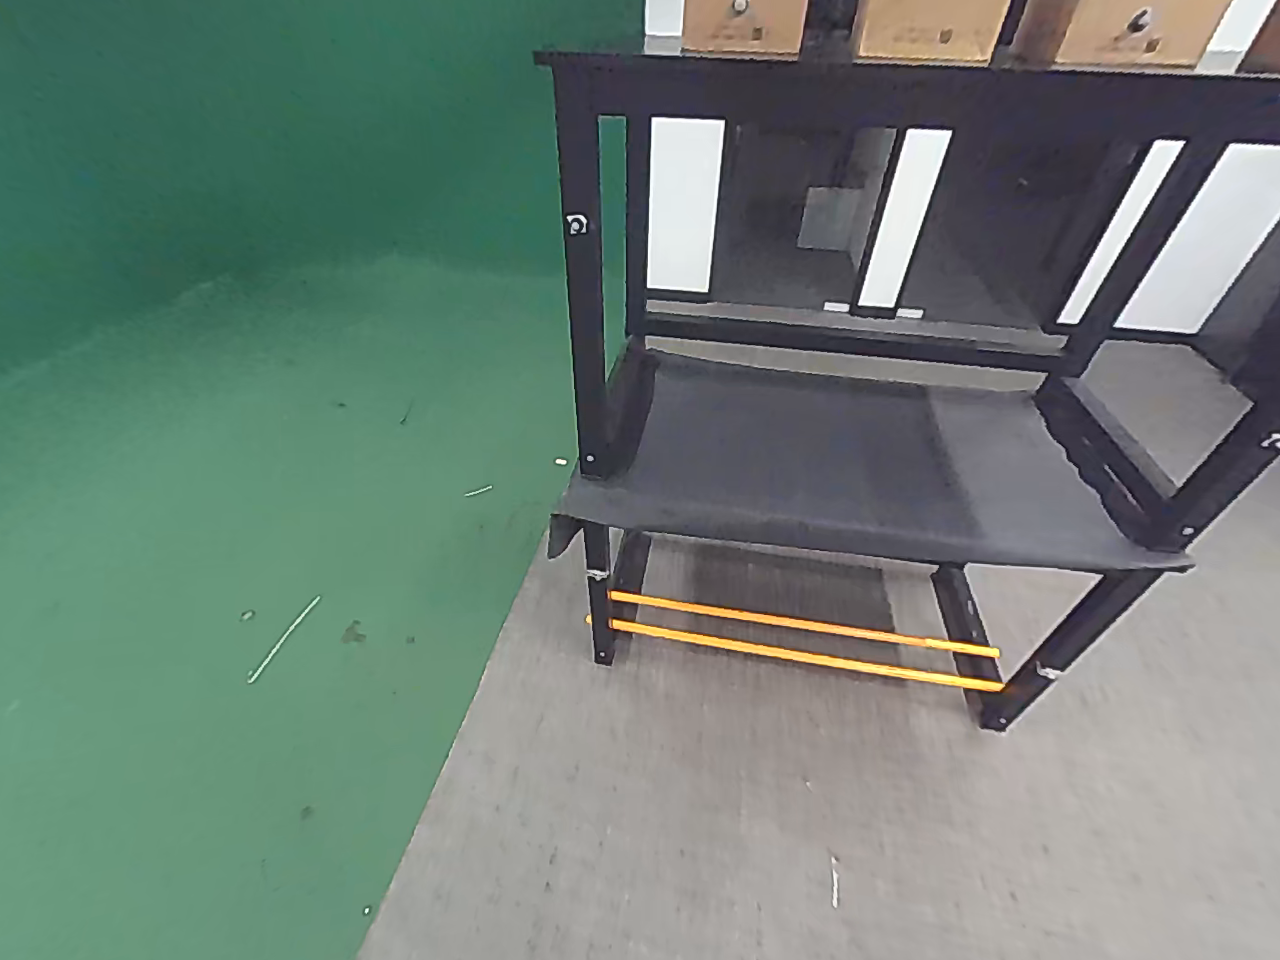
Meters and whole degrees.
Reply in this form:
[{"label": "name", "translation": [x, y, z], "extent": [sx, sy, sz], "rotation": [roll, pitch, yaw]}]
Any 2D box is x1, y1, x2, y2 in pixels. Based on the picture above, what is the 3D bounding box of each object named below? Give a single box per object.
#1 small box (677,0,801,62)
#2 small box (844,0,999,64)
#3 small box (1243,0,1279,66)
[{"label": "small box", "translation": [0.142, -0.707, 0.764], "extent": [0.168, 0.176, 0.179], "rotation": [5, 42, 5]}, {"label": "small box", "translation": [0.378, -0.662, 0.717], "extent": [0.168, 0.176, 0.179], "rotation": [8, 41, 9]}, {"label": "small box", "translation": [0.879, -0.581, 0.619], "extent": [0.168, 0.176, 0.179], "rotation": [14, 42, 15]}]
